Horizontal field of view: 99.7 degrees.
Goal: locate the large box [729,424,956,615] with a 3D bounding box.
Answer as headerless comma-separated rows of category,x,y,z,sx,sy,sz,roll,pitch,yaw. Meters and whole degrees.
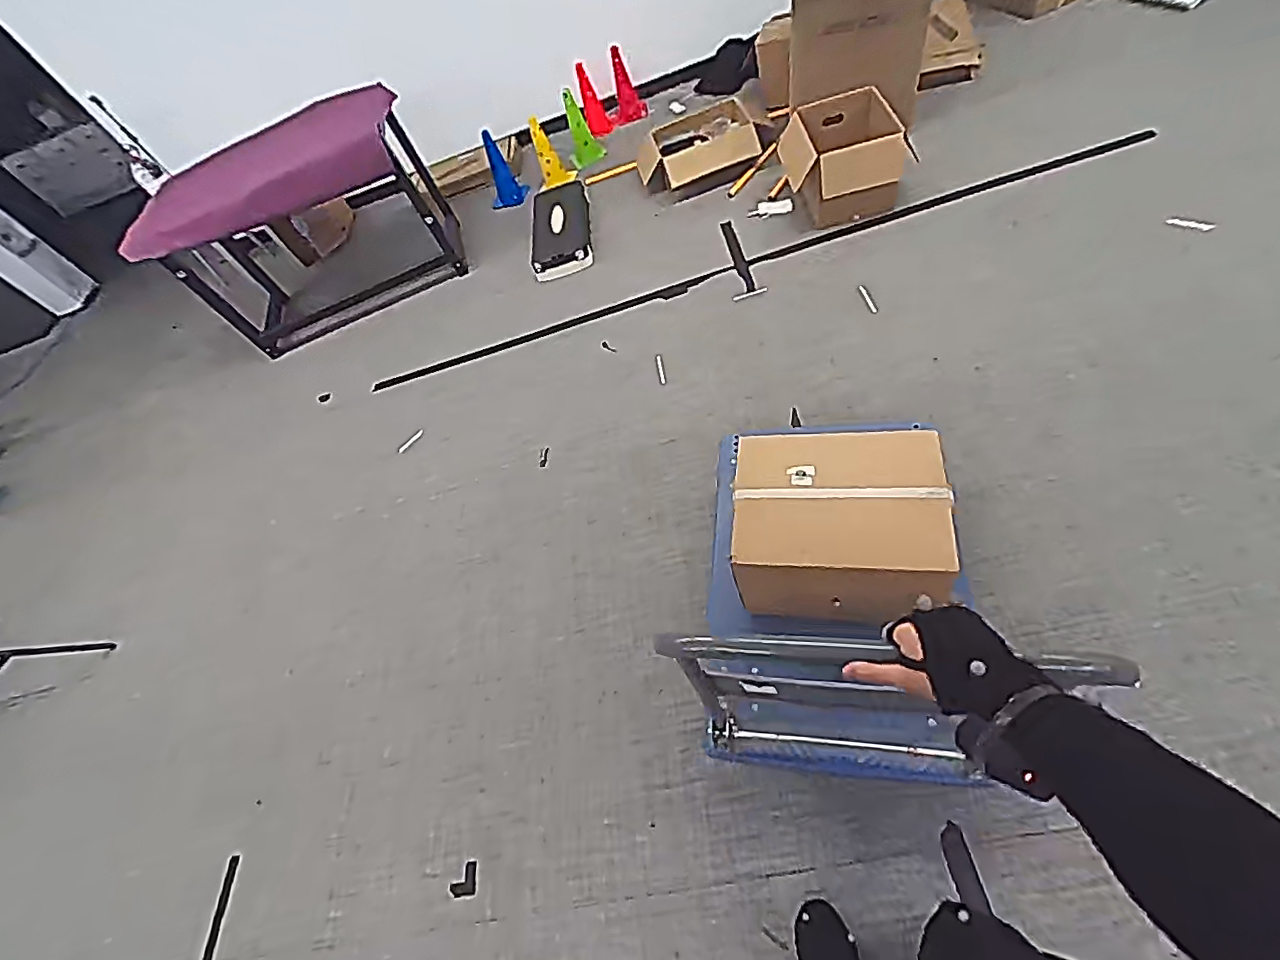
large box,0.427,0.101,1.198,0.408,0.320,0.320,-2,57,18
